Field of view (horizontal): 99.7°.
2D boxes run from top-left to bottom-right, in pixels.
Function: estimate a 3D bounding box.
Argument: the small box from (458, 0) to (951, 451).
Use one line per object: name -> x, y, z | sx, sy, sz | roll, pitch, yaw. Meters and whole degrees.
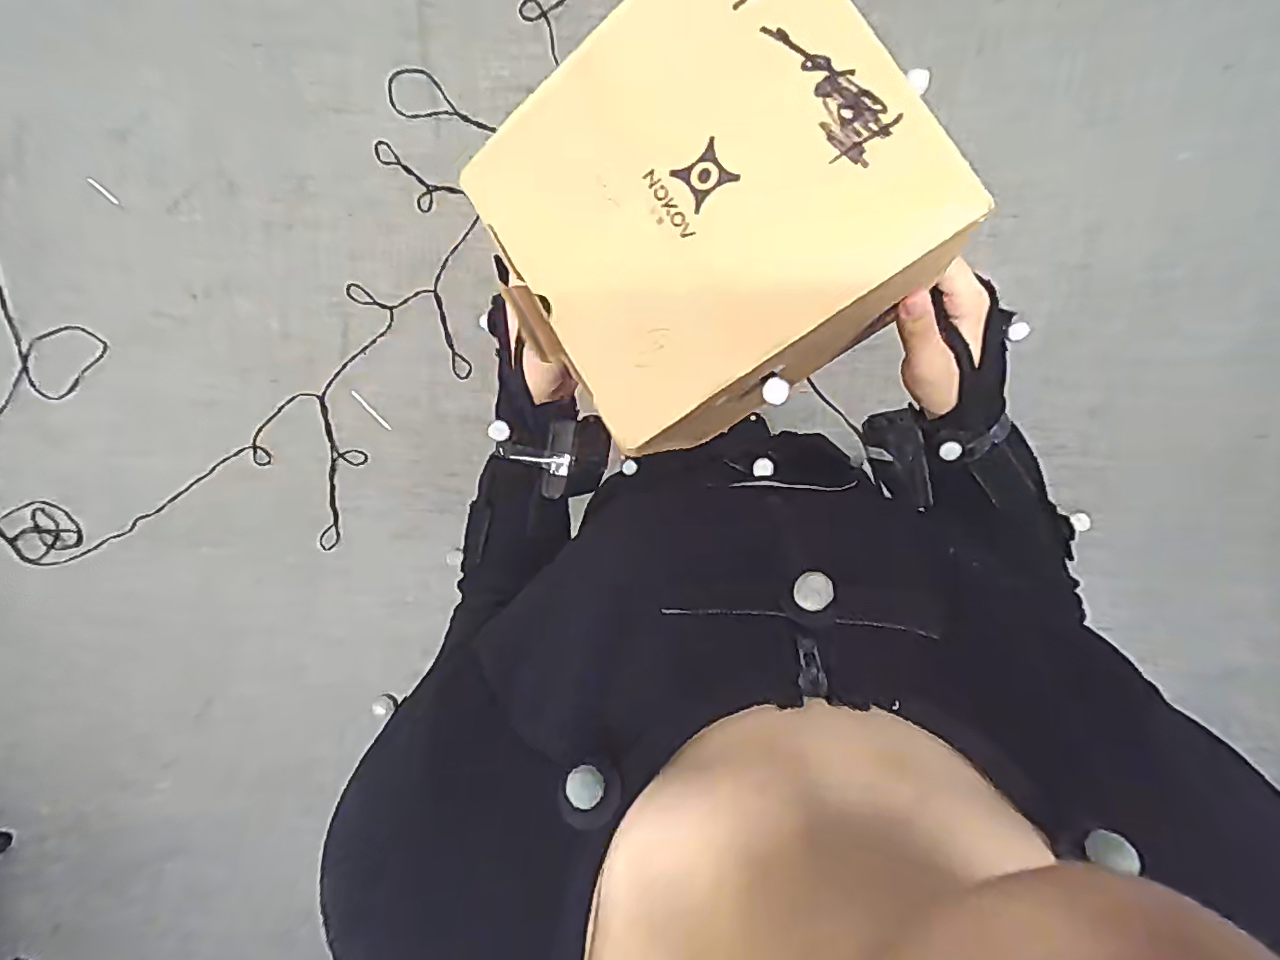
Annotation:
small box -> 0.041, -0.130, 0.313 | 0.179, 0.176, 0.168 | -32, 84, 21
